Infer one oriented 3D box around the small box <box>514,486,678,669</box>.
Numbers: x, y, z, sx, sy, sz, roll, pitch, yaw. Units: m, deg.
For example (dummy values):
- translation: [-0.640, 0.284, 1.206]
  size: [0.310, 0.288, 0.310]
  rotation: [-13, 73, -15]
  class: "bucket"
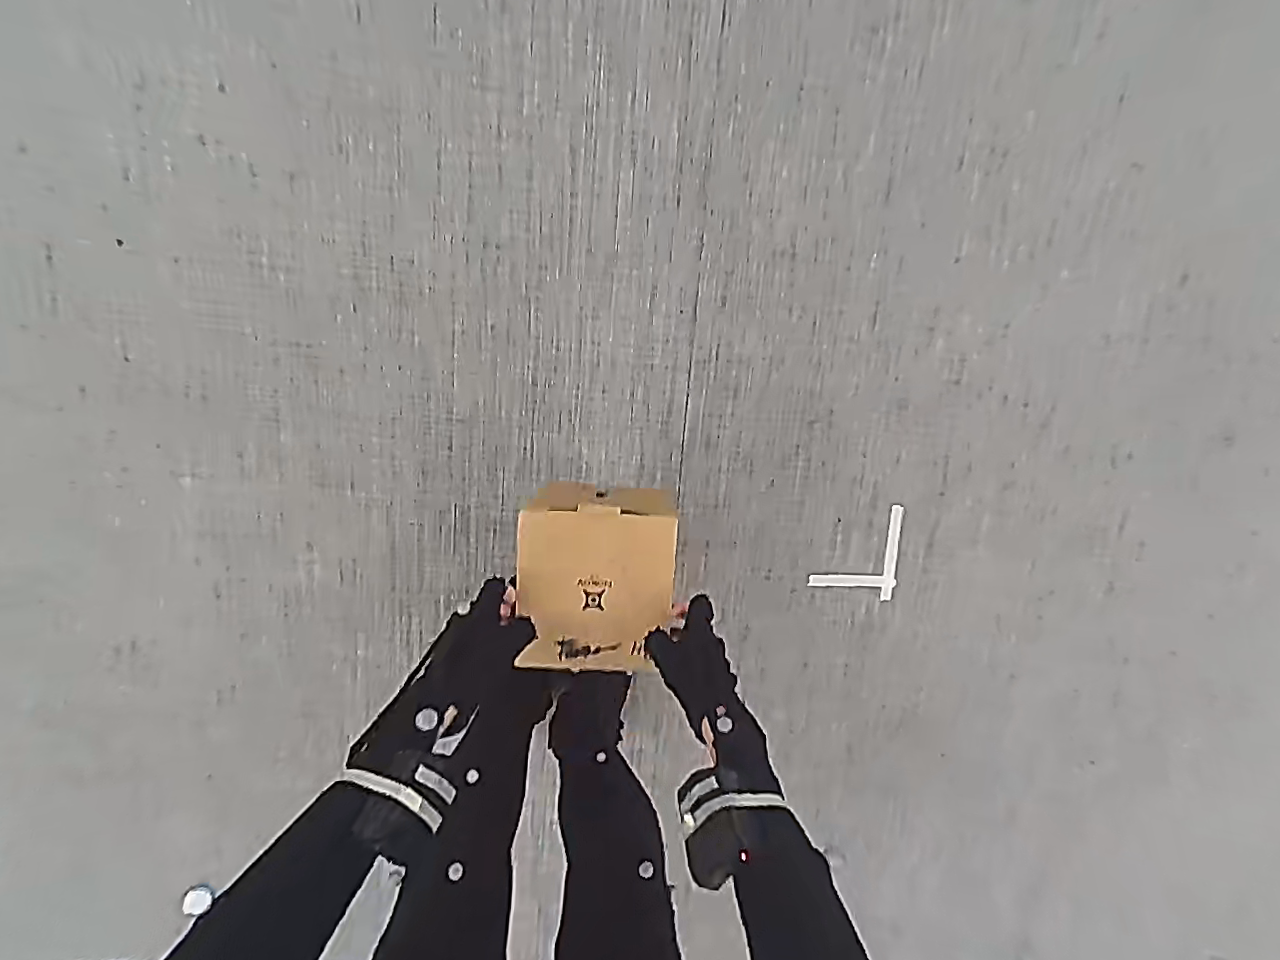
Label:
- translation: [-0.051, 0.105, 0.653]
  size: [0.168, 0.176, 0.179]
  rotation: [4, 98, -3]
  class: "small box"
